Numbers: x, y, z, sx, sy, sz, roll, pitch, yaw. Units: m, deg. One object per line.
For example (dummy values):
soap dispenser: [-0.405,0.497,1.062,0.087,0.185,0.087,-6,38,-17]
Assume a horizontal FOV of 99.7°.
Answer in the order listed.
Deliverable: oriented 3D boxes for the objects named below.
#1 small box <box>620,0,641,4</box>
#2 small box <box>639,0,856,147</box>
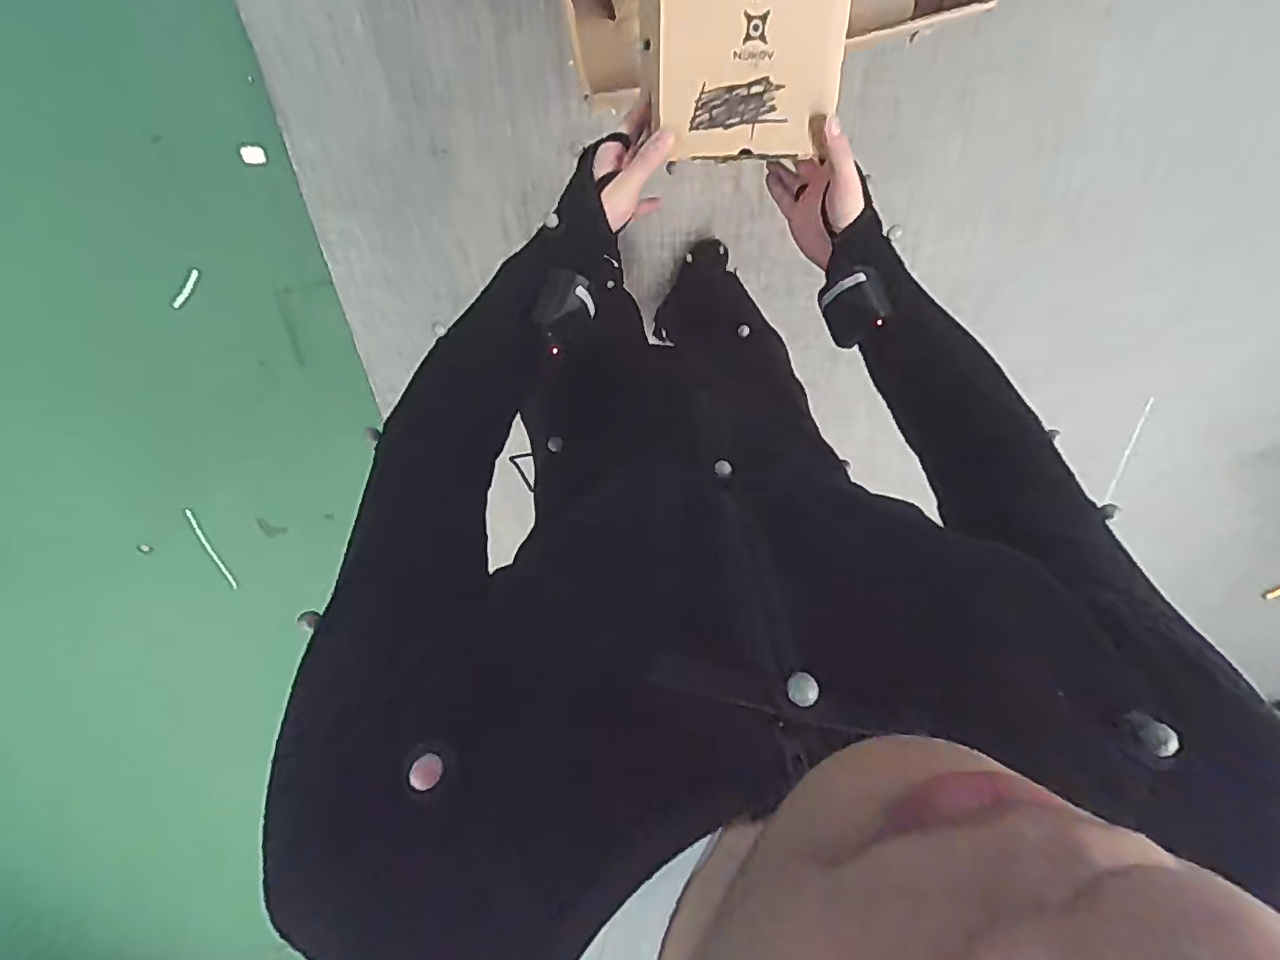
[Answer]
small box: [0.035,-0.748,0.697,0.168,0.176,0.179,-13,123,0]
small box: [0.090,-0.423,0.516,0.168,0.176,0.179,-4,121,-5]
